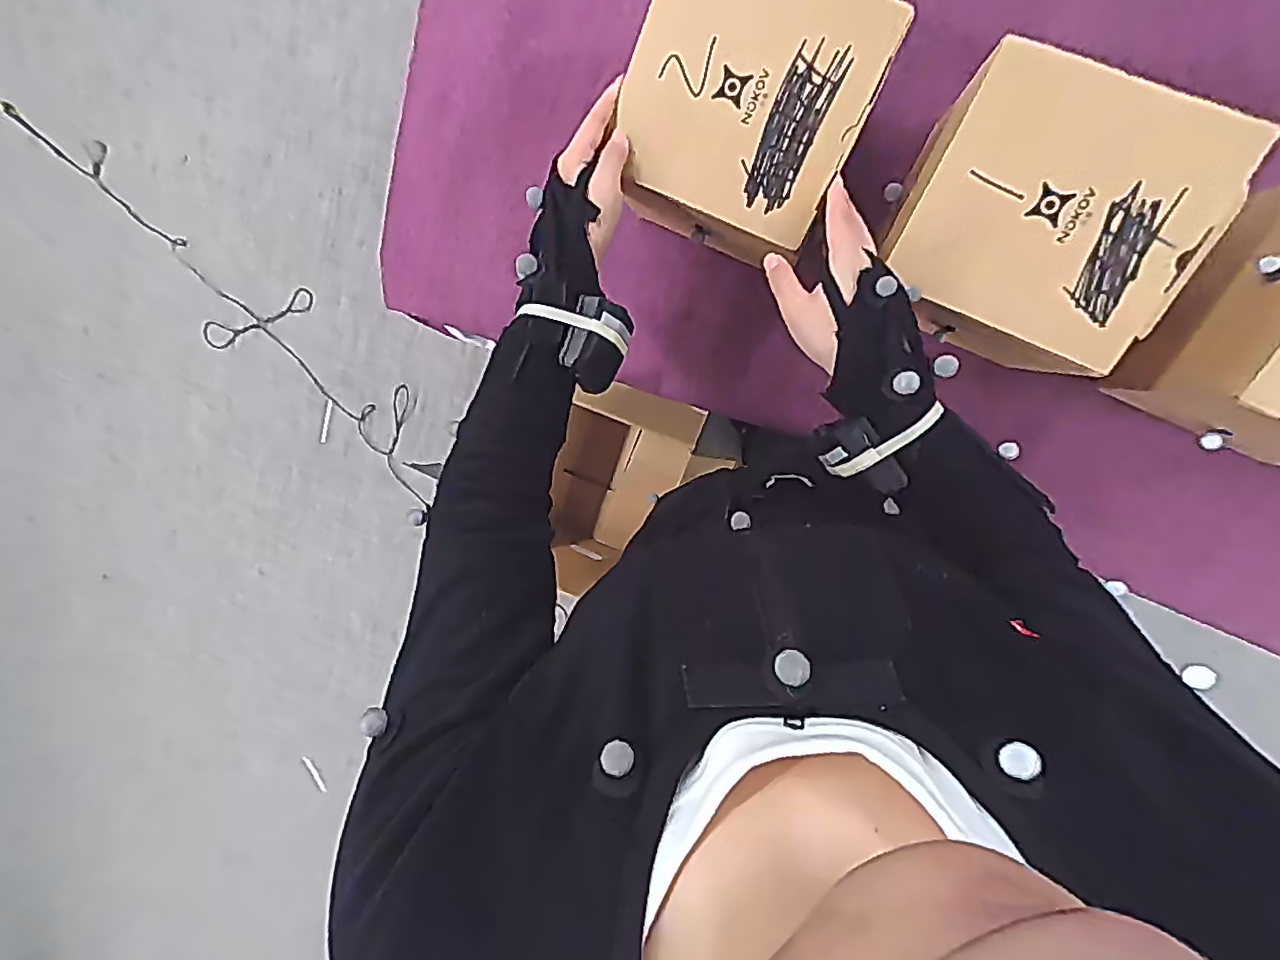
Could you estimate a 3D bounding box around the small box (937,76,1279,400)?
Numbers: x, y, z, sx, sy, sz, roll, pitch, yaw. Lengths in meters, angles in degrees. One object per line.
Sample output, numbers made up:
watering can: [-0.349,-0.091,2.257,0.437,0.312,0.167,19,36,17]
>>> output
small box: [0.352,-0.180,0.419,0.179,0.176,0.168,7,145,16]
